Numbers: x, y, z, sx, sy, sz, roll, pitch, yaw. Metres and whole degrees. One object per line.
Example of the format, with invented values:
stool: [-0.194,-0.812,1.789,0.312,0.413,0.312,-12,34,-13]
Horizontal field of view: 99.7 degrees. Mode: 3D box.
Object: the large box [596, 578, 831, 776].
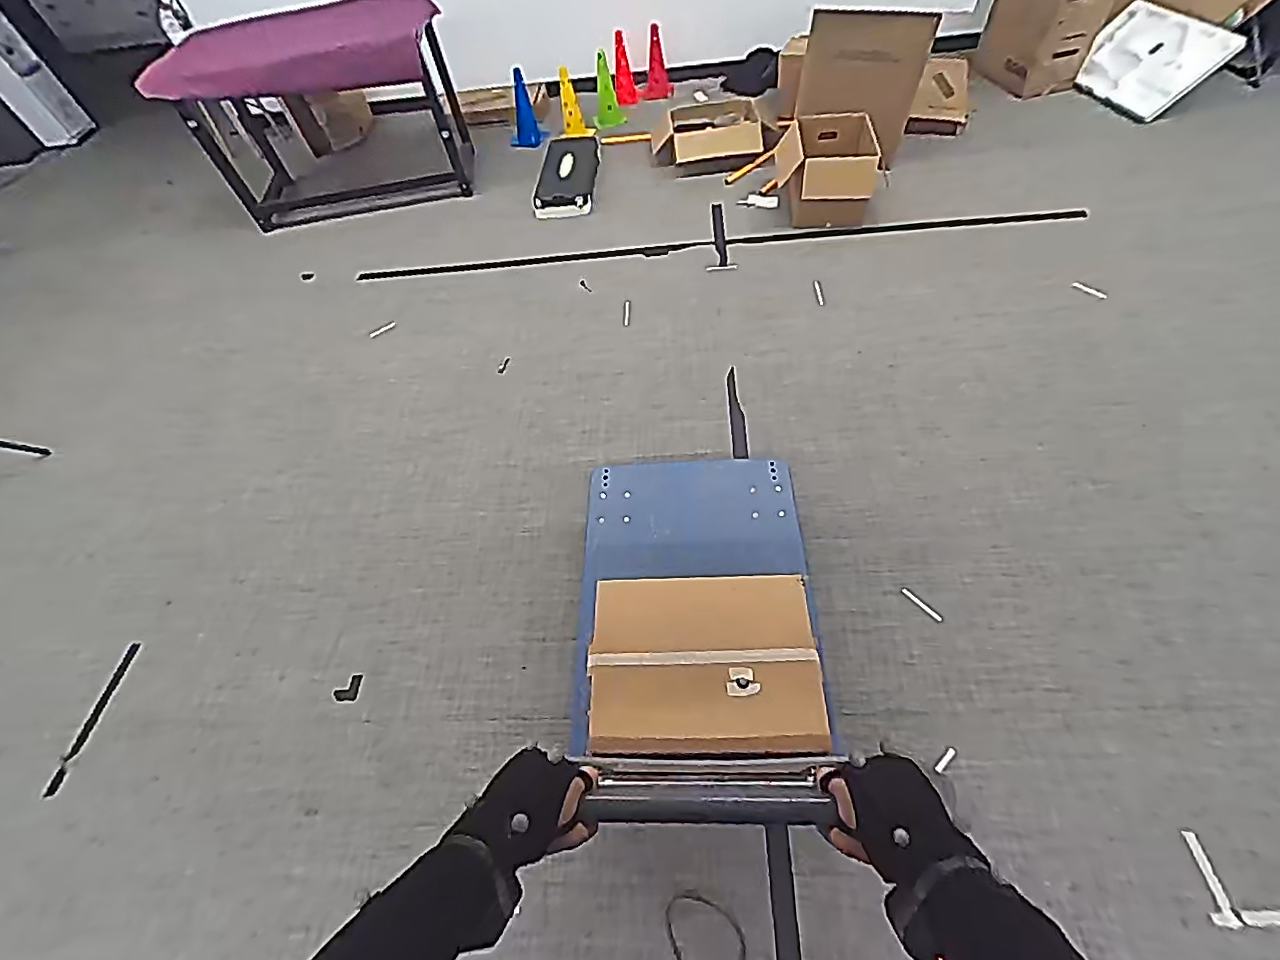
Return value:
large box: [0.129,0.414,1.113,0.408,0.320,0.320,-3,57,3]
